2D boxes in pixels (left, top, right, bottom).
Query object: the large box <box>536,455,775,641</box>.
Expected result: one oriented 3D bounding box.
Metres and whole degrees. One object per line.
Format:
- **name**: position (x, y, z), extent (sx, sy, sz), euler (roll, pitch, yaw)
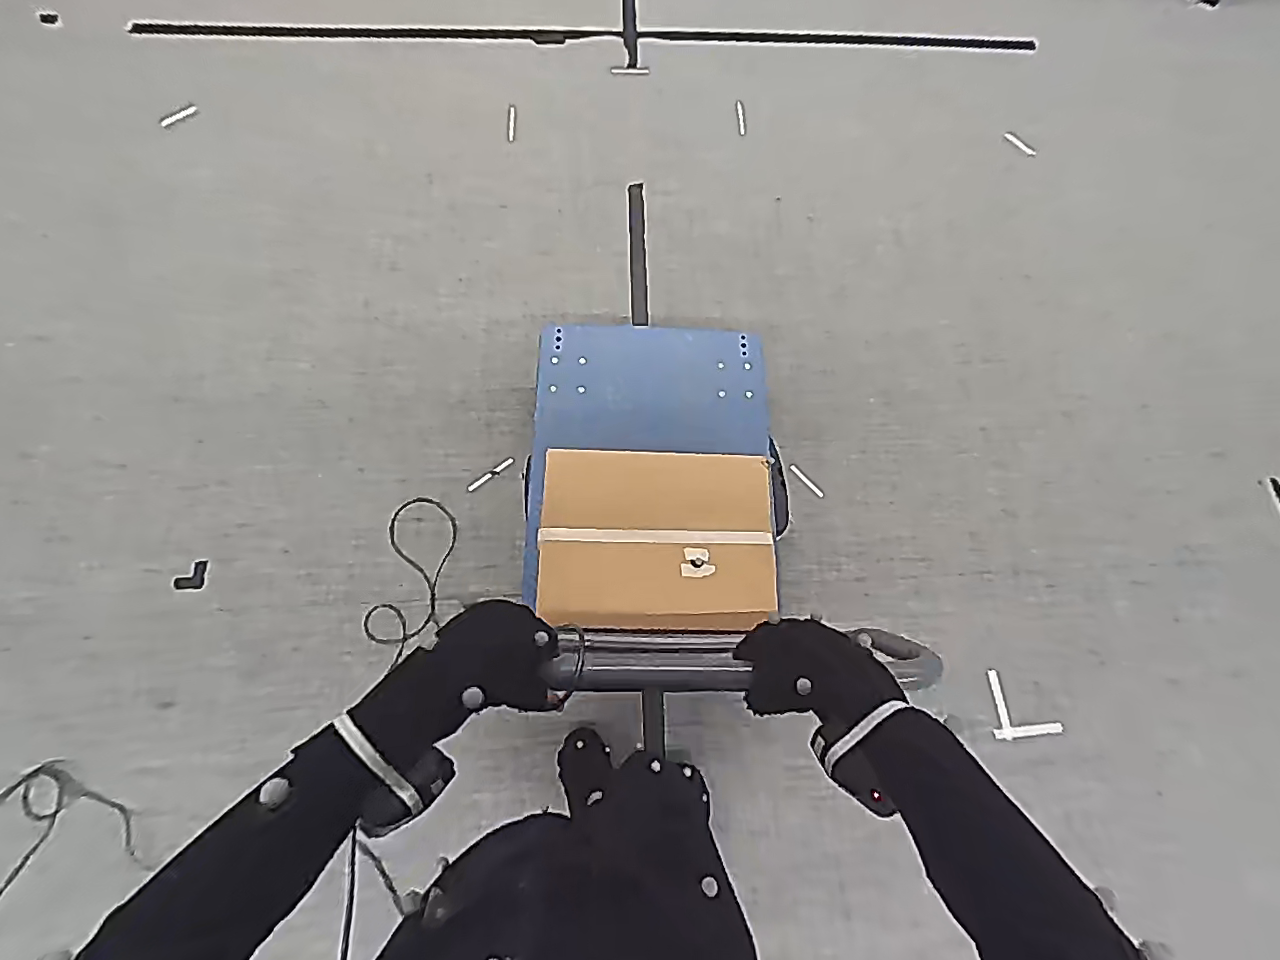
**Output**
- **large box**: position (0.015, 0.153, 1.071), extent (0.408, 0.320, 0.320), euler (2, 72, -4)
